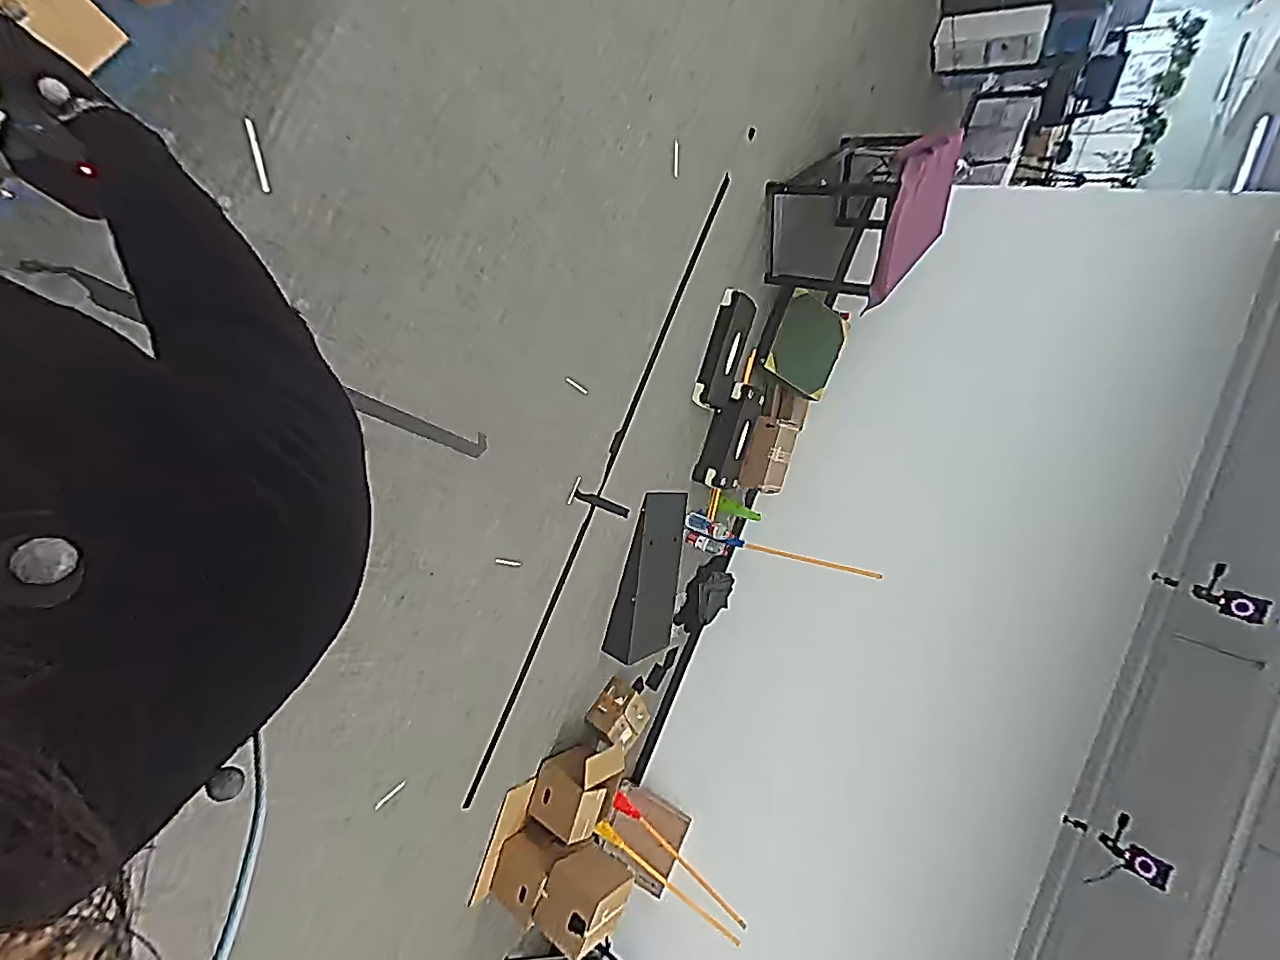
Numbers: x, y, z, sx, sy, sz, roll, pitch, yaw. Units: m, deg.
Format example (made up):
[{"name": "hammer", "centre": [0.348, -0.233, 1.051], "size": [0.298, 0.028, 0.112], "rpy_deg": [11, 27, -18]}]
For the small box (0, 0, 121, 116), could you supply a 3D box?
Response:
[{"name": "small box", "centre": [-0.871, -0.620, 0.723], "size": [0.179, 0.176, 0.168], "rpy_deg": [-61, 149, -15]}]
